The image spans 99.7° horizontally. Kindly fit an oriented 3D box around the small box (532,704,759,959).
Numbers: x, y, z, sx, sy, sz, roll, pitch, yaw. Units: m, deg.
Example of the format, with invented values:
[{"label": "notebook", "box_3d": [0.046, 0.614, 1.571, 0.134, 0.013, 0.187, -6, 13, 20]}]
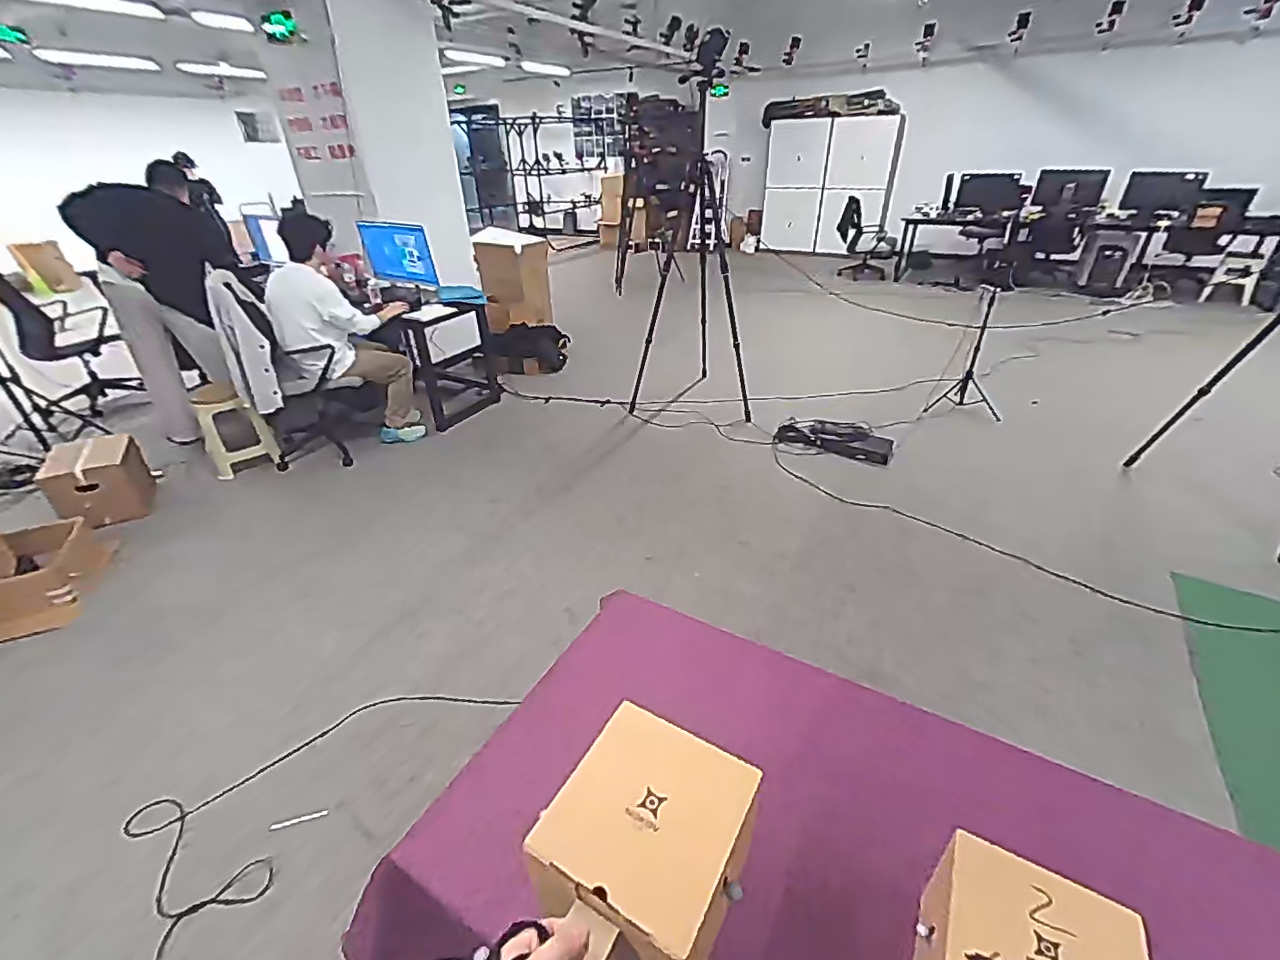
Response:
[{"label": "small box", "box_3d": [0.009, 0.386, 0.570, 0.168, 0.176, 0.179, 17, 36, 26]}]
